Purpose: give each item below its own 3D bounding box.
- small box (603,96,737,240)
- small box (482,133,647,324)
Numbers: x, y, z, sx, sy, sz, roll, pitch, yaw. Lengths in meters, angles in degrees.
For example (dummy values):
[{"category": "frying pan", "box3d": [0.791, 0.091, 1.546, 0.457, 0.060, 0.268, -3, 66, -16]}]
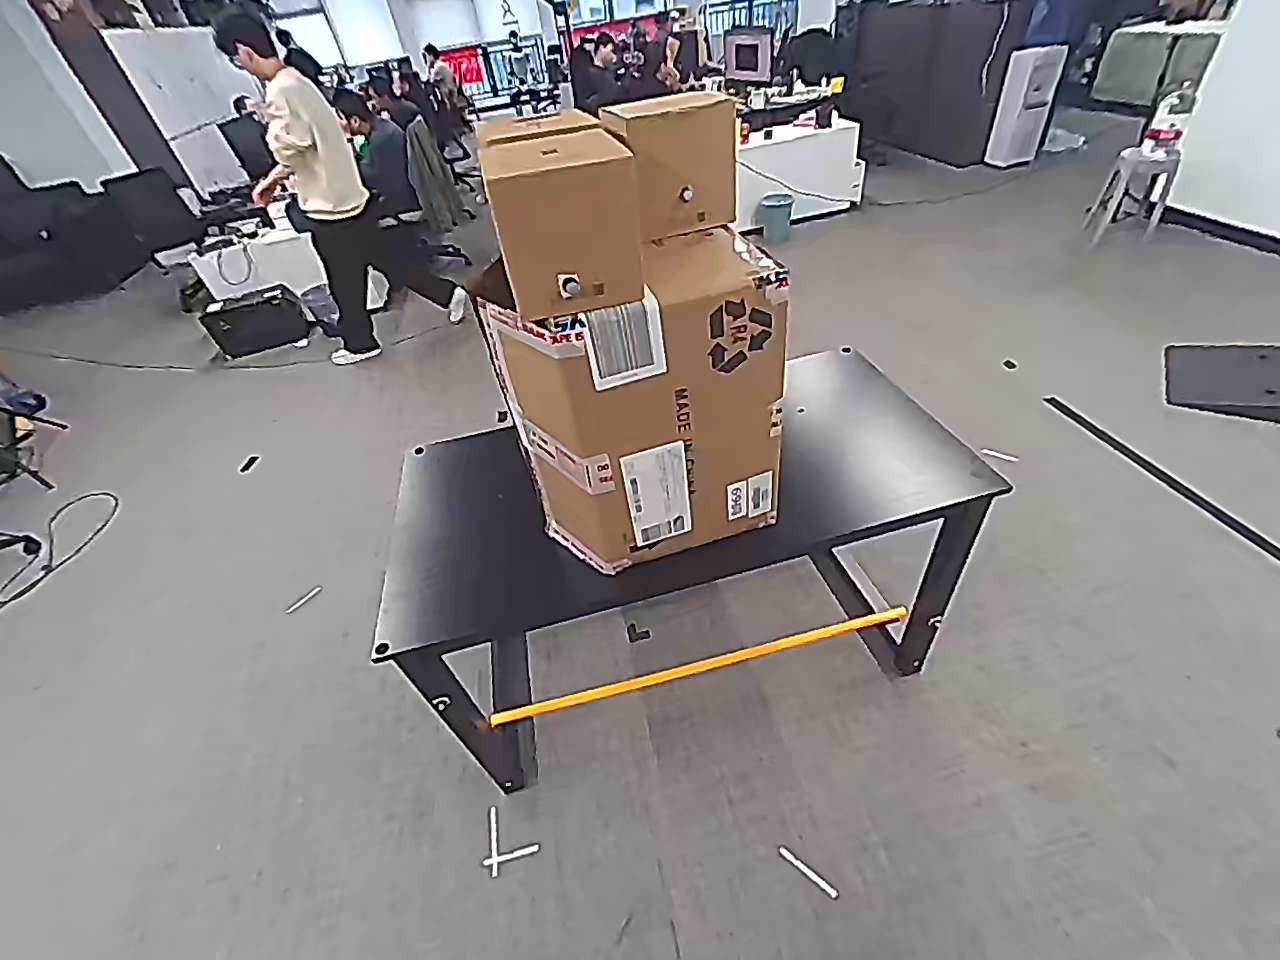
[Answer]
[{"category": "small box", "box3d": [0.047, -0.504, 0.874, 0.168, 0.176, 0.179, -16, 40, -7]}, {"category": "small box", "box3d": [-0.095, -0.324, 0.697, 0.168, 0.176, 0.179, -16, 44, -8]}]
